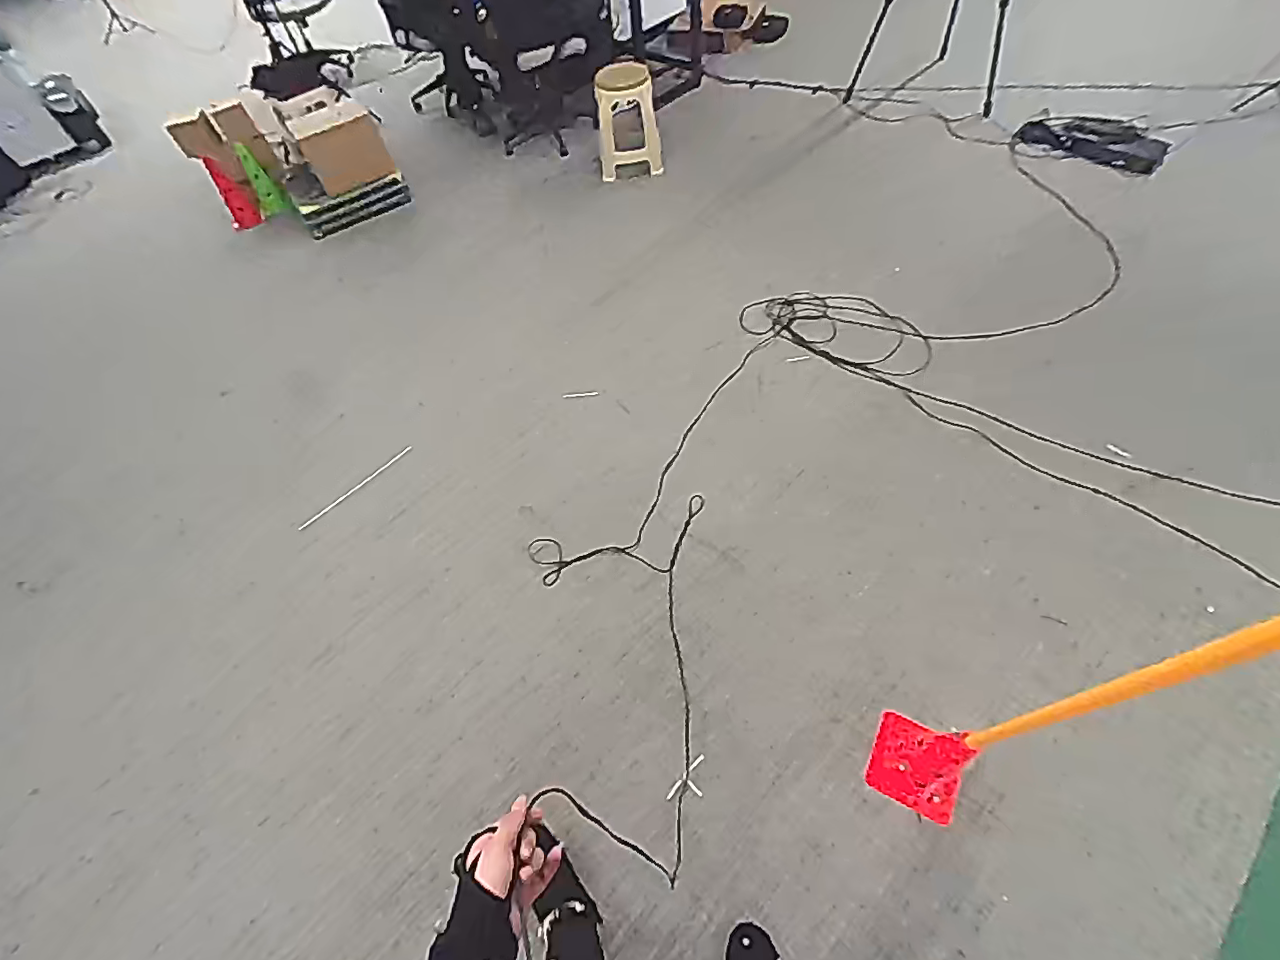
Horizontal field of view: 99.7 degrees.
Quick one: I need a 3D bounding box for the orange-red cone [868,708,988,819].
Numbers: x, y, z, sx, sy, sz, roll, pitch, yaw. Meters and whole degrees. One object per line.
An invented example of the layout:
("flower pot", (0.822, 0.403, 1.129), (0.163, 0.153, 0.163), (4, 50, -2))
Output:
("orange-red cone", (0.670, 0.599, 1.197), (0.198, 0.360, 0.199), (24, 61, 20))
